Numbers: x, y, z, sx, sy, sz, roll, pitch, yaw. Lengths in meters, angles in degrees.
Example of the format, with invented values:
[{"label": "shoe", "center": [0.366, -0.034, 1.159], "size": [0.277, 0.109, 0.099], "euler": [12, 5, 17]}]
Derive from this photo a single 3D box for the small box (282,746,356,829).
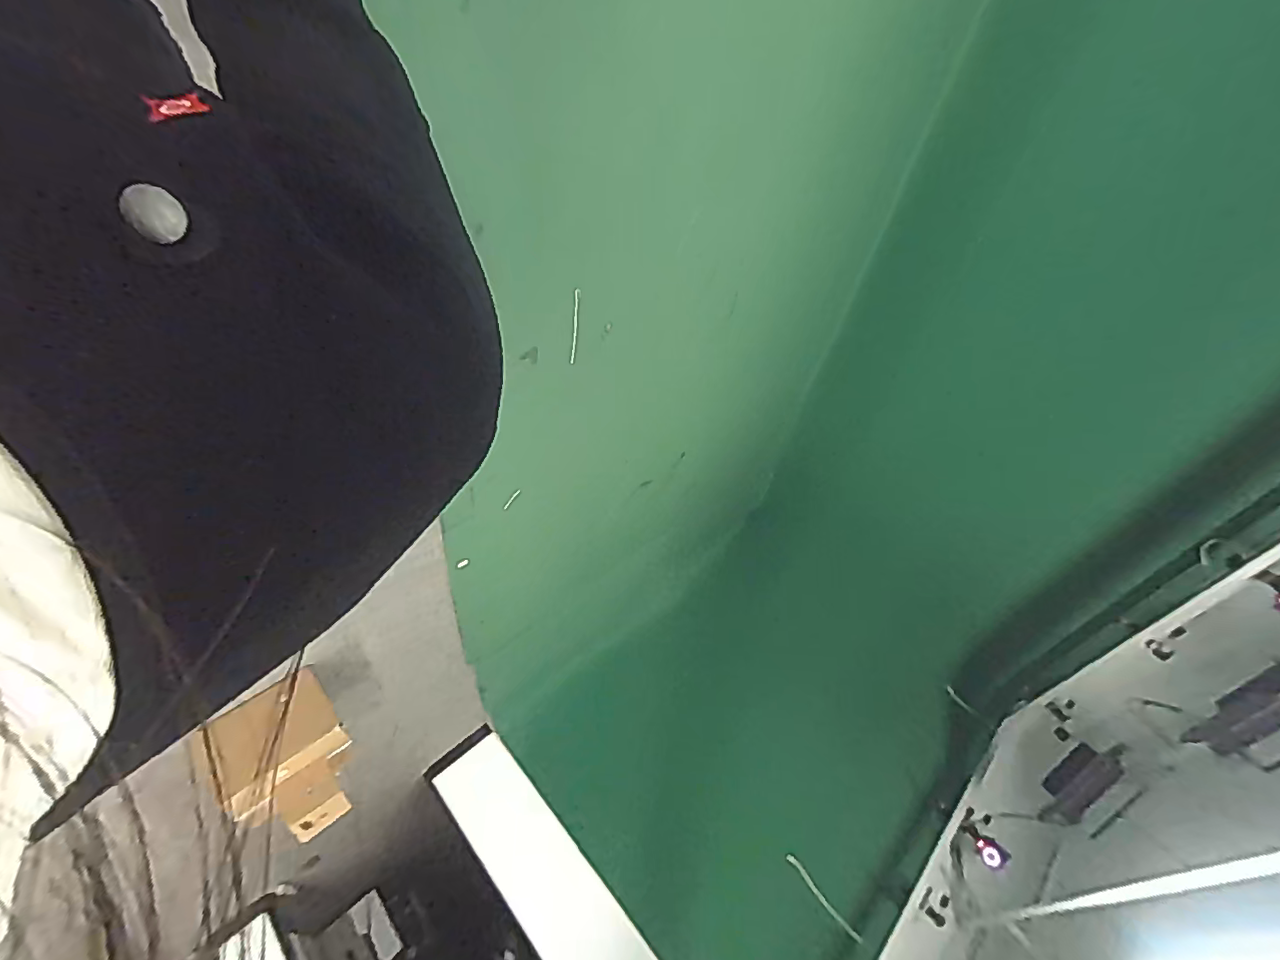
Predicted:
[{"label": "small box", "center": [-1.195, 1.134, 2.002], "size": [0.179, 0.176, 0.168], "euler": [-30, 142, -32]}]
